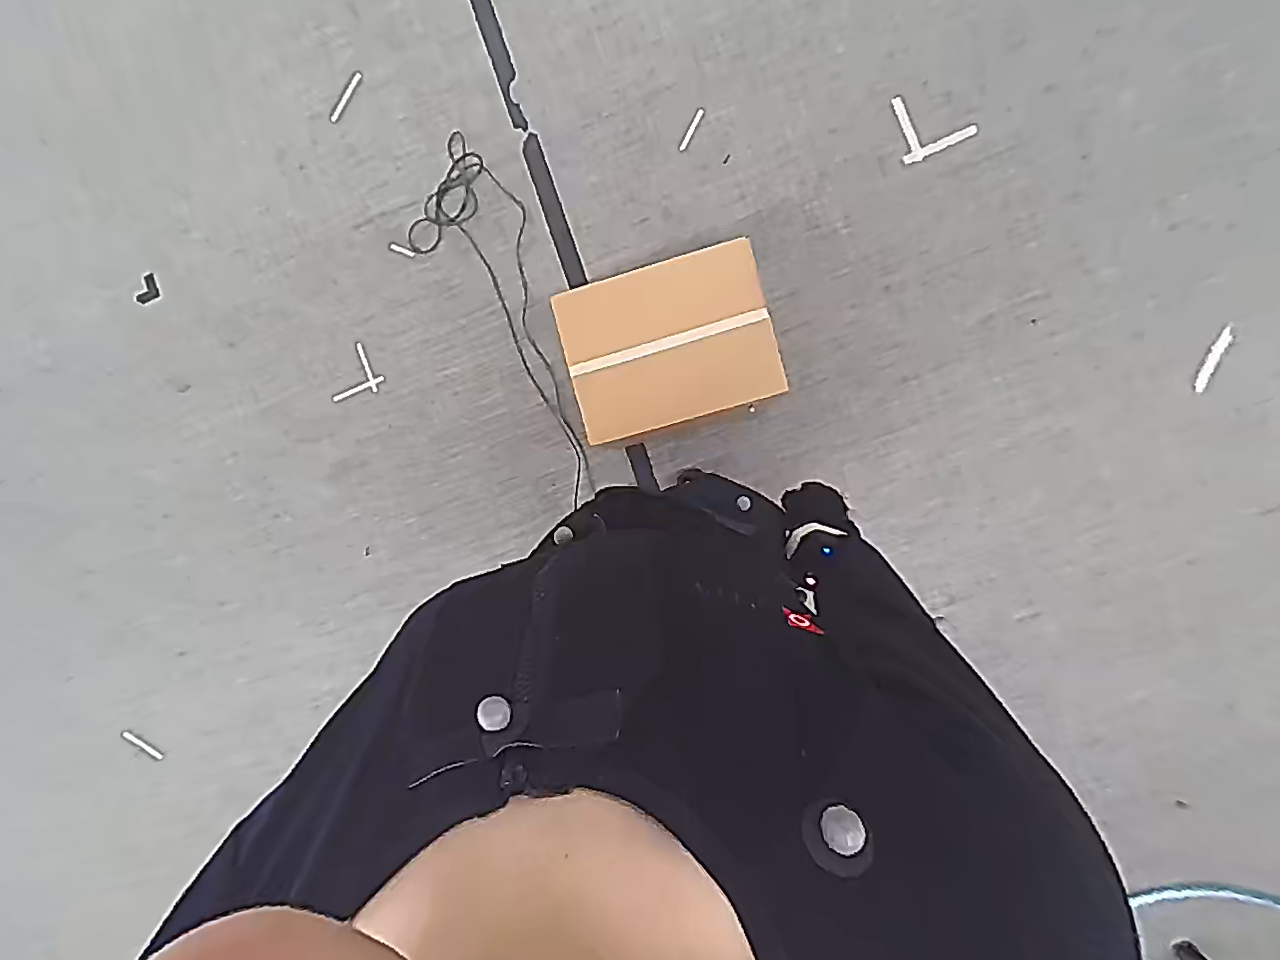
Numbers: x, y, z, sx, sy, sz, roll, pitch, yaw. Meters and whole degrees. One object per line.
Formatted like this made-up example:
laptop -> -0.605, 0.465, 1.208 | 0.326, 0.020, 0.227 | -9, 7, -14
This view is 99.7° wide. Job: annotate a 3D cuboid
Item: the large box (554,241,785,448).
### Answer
large box -> 0.070, -0.272, 1.215 | 0.408, 0.320, 0.320 | -15, 90, 6
